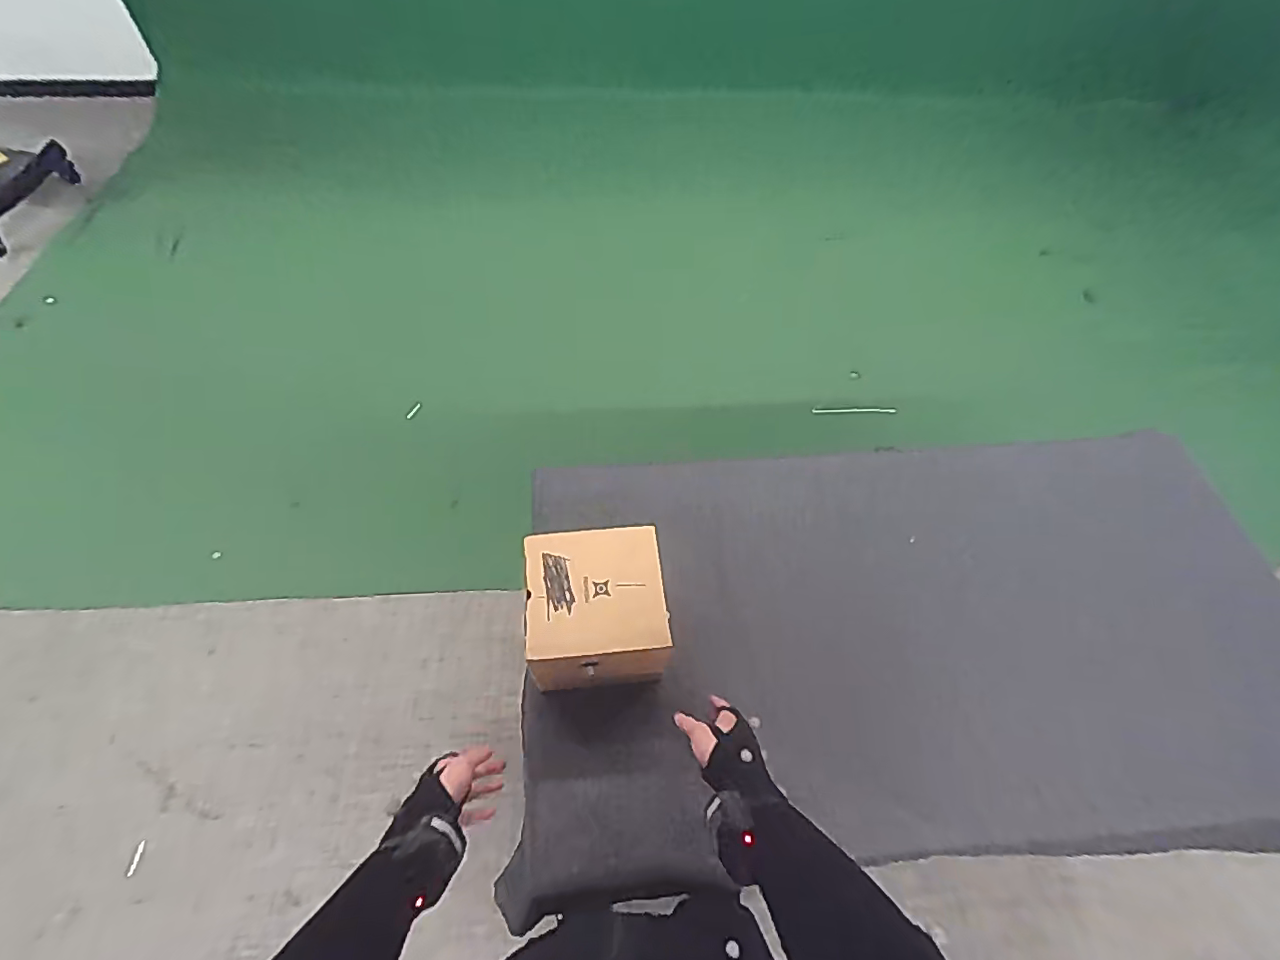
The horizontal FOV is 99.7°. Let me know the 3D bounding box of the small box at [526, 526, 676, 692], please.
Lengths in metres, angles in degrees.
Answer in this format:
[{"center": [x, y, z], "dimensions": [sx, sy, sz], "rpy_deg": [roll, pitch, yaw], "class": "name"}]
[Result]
[{"center": [-0.058, 0.177, 0.727], "dimensions": [0.179, 0.176, 0.168], "rpy_deg": [-2, 57, -9], "class": "small box"}]
